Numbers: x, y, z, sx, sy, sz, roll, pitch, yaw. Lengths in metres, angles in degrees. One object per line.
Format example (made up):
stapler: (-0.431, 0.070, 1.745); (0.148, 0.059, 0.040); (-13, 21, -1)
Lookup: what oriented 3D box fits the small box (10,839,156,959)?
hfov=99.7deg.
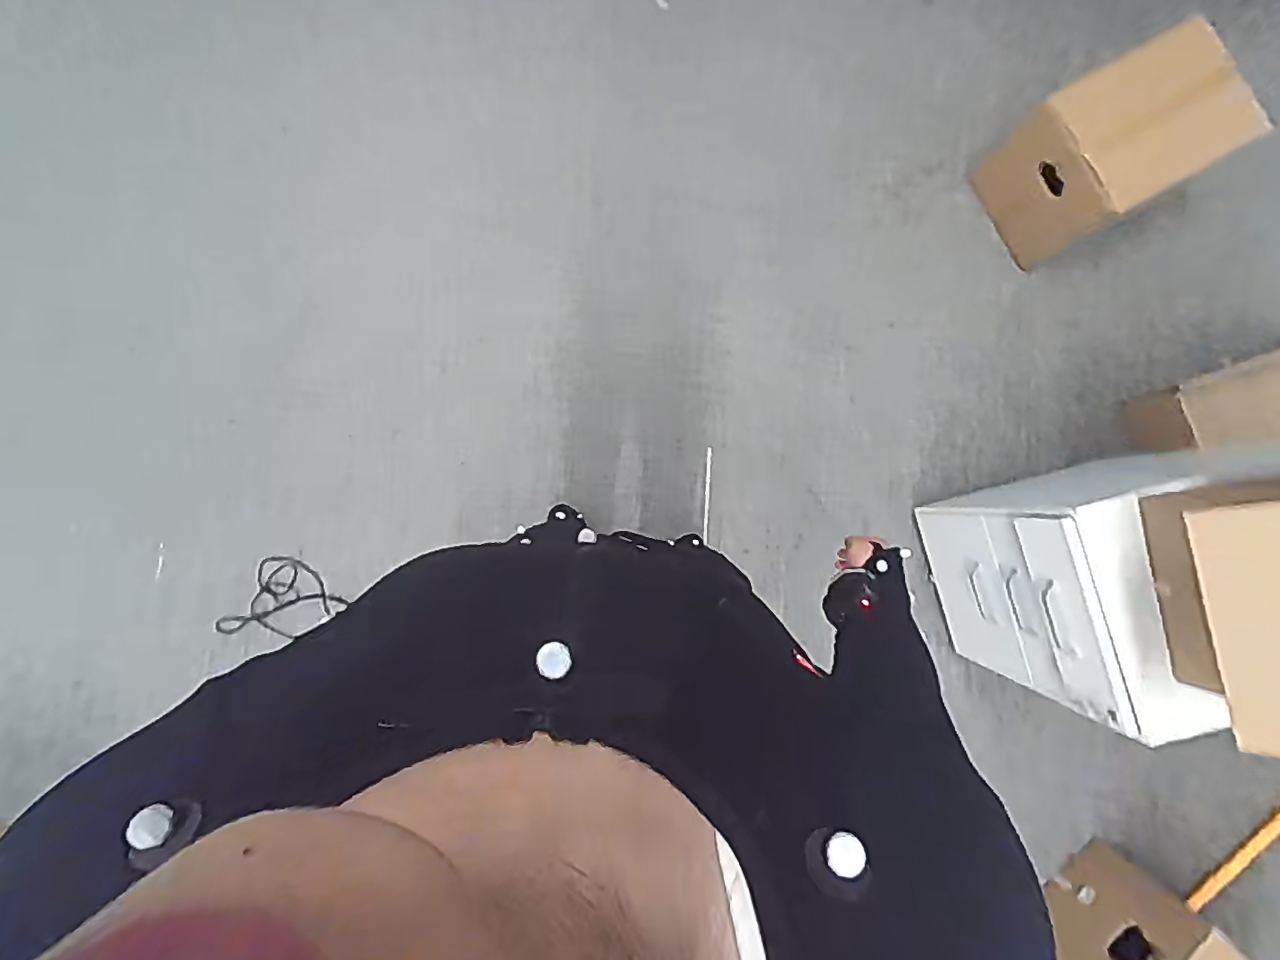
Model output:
small box: (-1.393, 1.052, 1.366); (0.179, 0.176, 0.168); (15, 87, 0)
